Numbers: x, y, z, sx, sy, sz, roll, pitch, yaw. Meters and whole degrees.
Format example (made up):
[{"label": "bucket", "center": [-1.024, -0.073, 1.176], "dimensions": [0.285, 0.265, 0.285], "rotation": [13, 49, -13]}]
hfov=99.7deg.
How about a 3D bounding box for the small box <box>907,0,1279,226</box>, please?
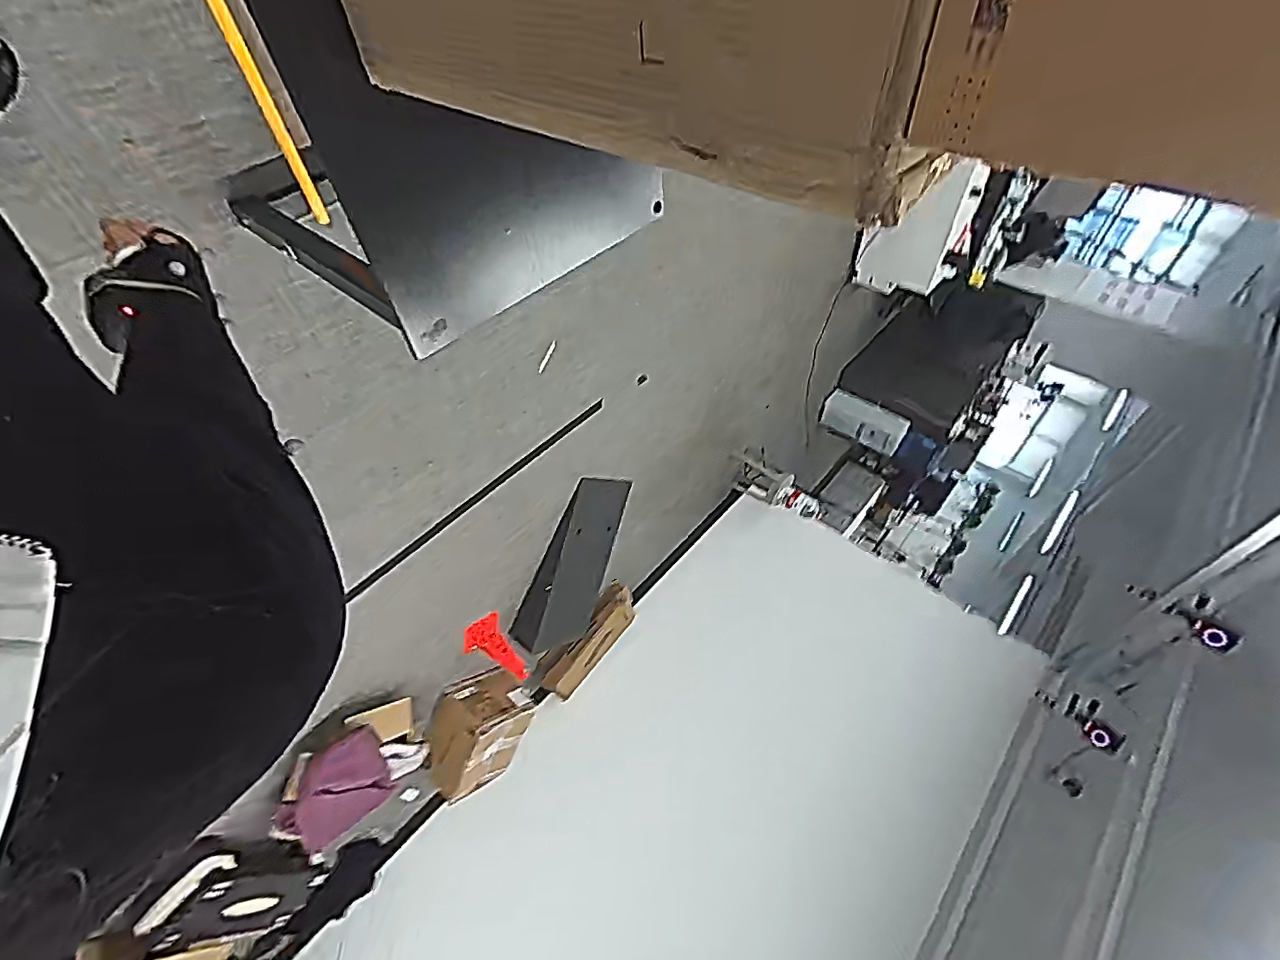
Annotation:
[{"label": "small box", "center": [0.254, -0.247, 0.237], "dimensions": [0.179, 0.176, 0.168], "rotation": [-42, 147, -23]}]
